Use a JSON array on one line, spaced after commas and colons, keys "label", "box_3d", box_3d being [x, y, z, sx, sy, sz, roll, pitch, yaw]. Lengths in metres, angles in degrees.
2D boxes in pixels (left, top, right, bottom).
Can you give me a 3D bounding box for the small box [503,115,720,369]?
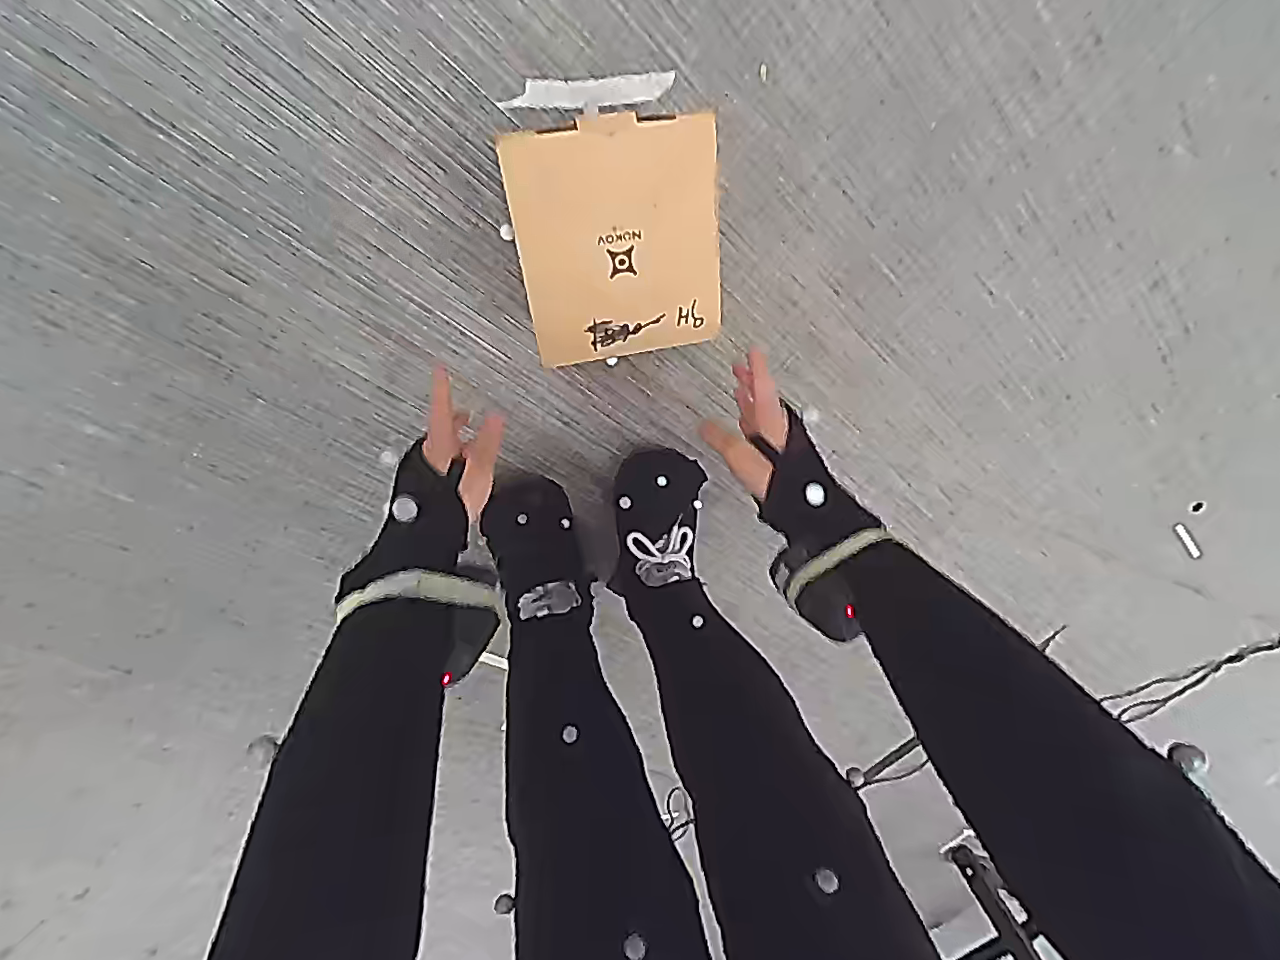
[{"label": "small box", "box_3d": [-0.031, -0.224, 0.507, 0.168, 0.176, 0.179, -11, 122, -7]}]
